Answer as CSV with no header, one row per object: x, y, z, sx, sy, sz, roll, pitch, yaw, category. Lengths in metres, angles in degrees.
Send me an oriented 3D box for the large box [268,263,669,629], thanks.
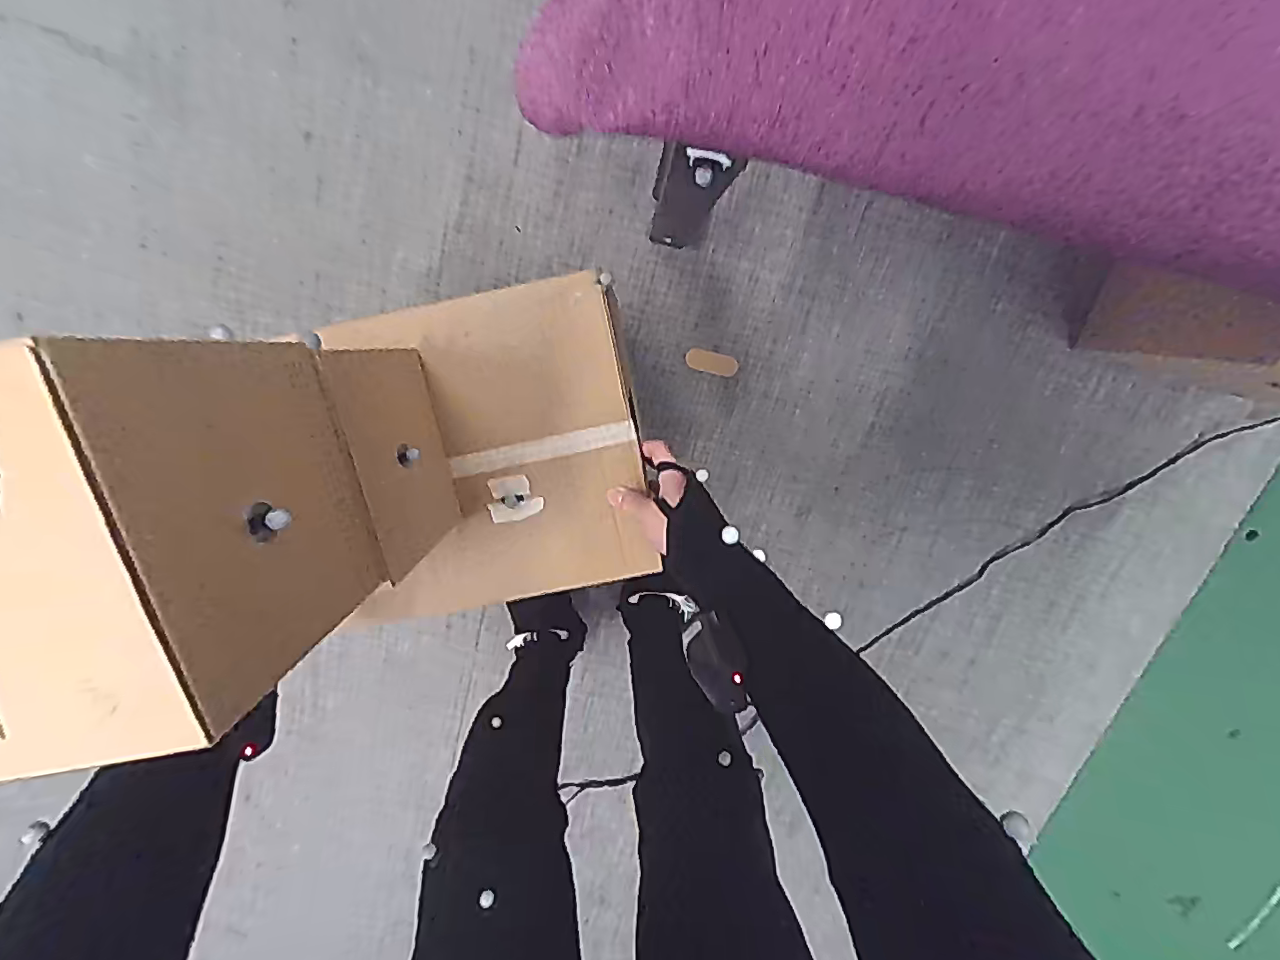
-0.199,-0.055,0.706,0.408,0.320,0.320,-13,105,1,large box

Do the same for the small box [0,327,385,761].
-0.275,0.021,0.301,0.168,0.176,0.179,-10,104,2,small box
